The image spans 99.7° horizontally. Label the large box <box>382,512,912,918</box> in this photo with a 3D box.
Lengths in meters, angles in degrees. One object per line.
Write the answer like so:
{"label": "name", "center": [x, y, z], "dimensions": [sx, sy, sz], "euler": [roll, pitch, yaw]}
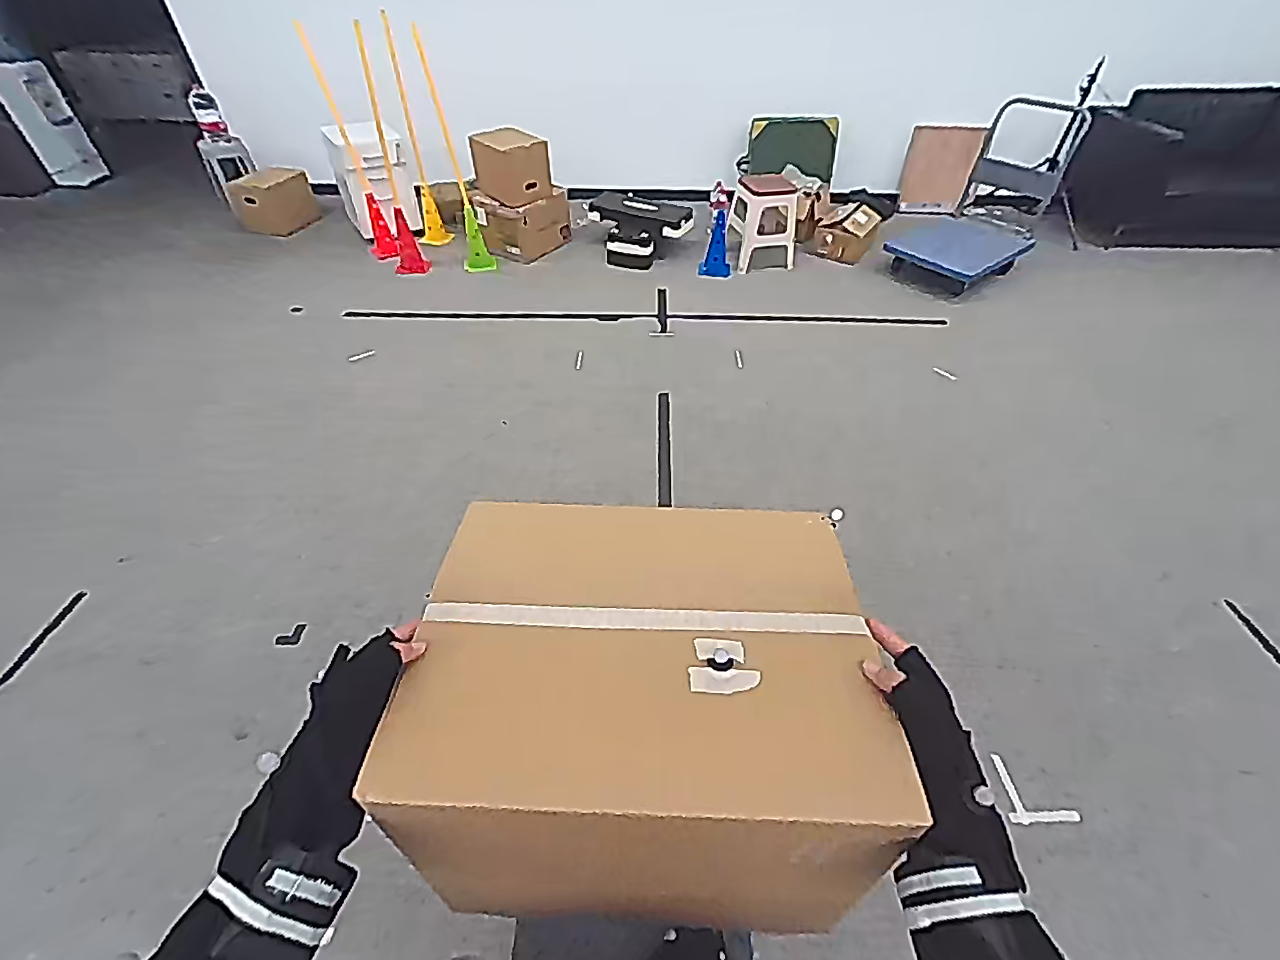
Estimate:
{"label": "large box", "center": [0.006, 0.253, 0.605], "dimensions": [0.408, 0.320, 0.320], "euler": [2, 39, 2]}
